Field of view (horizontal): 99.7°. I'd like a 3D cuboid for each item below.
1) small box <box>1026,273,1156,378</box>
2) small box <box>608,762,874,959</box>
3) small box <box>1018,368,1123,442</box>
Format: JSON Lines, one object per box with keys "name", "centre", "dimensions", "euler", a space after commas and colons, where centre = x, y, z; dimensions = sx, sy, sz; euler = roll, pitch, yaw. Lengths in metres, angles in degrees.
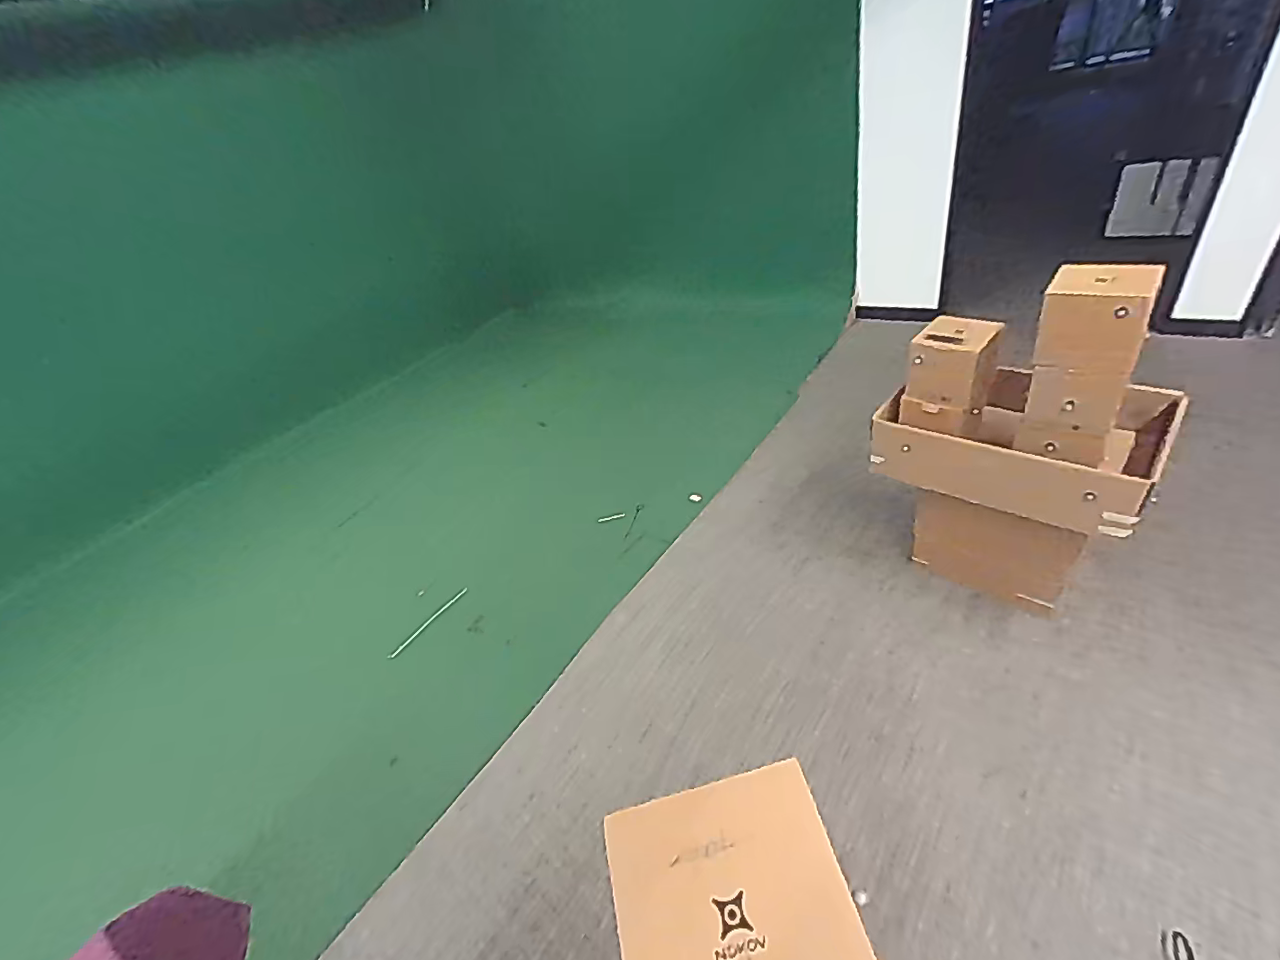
{"name": "small box", "centre": [0.975, -0.339, 1.180], "dimensions": [0.179, 0.176, 0.168], "euler": [19, 49, 38]}
{"name": "small box", "centre": [0.085, 0.360, 0.431], "dimensions": [0.168, 0.176, 0.179], "euler": [-17, 44, 1]}
{"name": "small box", "centre": [1.016, -0.211, 1.274], "dimensions": [0.168, 0.176, 0.179], "euler": [19, 49, 38]}
